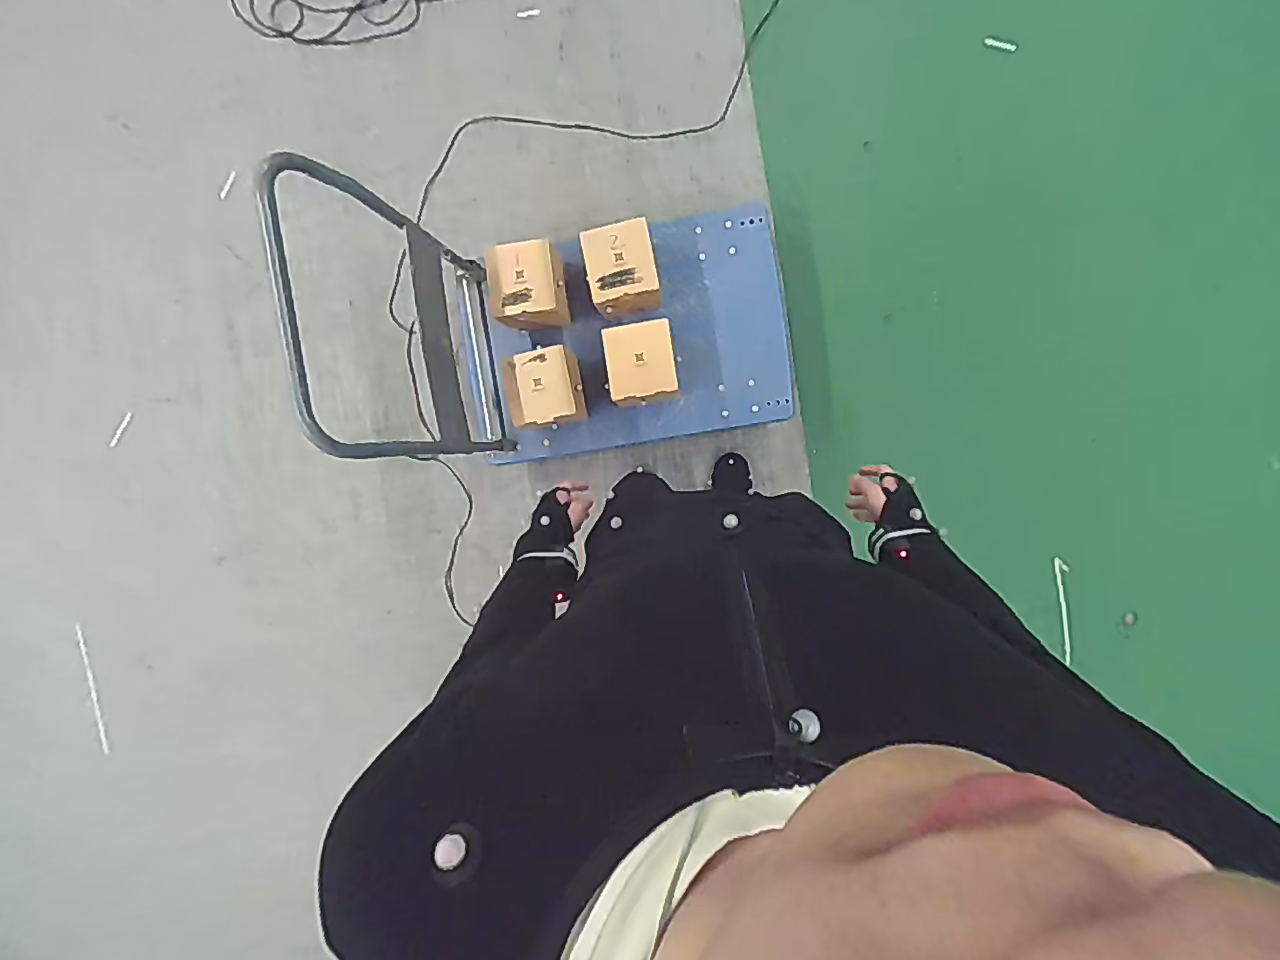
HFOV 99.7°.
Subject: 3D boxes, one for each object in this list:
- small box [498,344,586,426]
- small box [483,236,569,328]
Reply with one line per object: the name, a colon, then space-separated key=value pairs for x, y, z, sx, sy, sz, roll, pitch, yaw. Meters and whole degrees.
small box: x=-0.245 y=-0.238 z=1.400 sx=0.168 sy=0.176 sz=0.179 roll=-11 pitch=92 yaw=6
small box: x=-0.286 y=-0.497 z=1.390 sx=0.168 sy=0.176 sz=0.179 roll=-6 pitch=92 yaw=5
